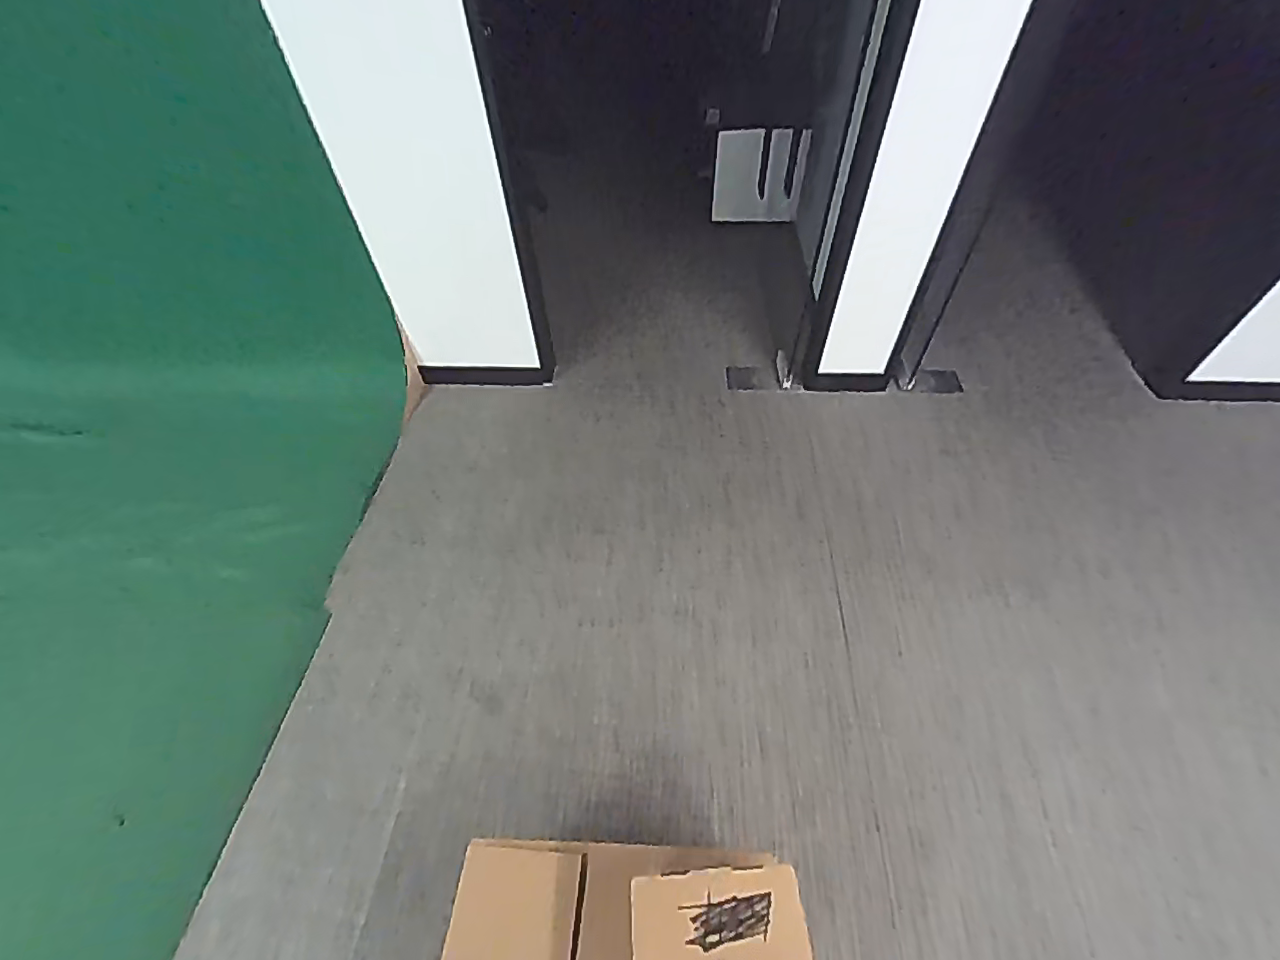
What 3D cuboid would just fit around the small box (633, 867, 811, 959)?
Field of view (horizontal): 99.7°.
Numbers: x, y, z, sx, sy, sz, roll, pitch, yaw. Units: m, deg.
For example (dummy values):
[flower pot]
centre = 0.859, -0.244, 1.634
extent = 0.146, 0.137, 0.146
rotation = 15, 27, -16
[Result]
[small box]
centre = 0.084, 0.513, 0.548
extent = 0.168, 0.176, 0.179
rotation = -7, 50, 2
